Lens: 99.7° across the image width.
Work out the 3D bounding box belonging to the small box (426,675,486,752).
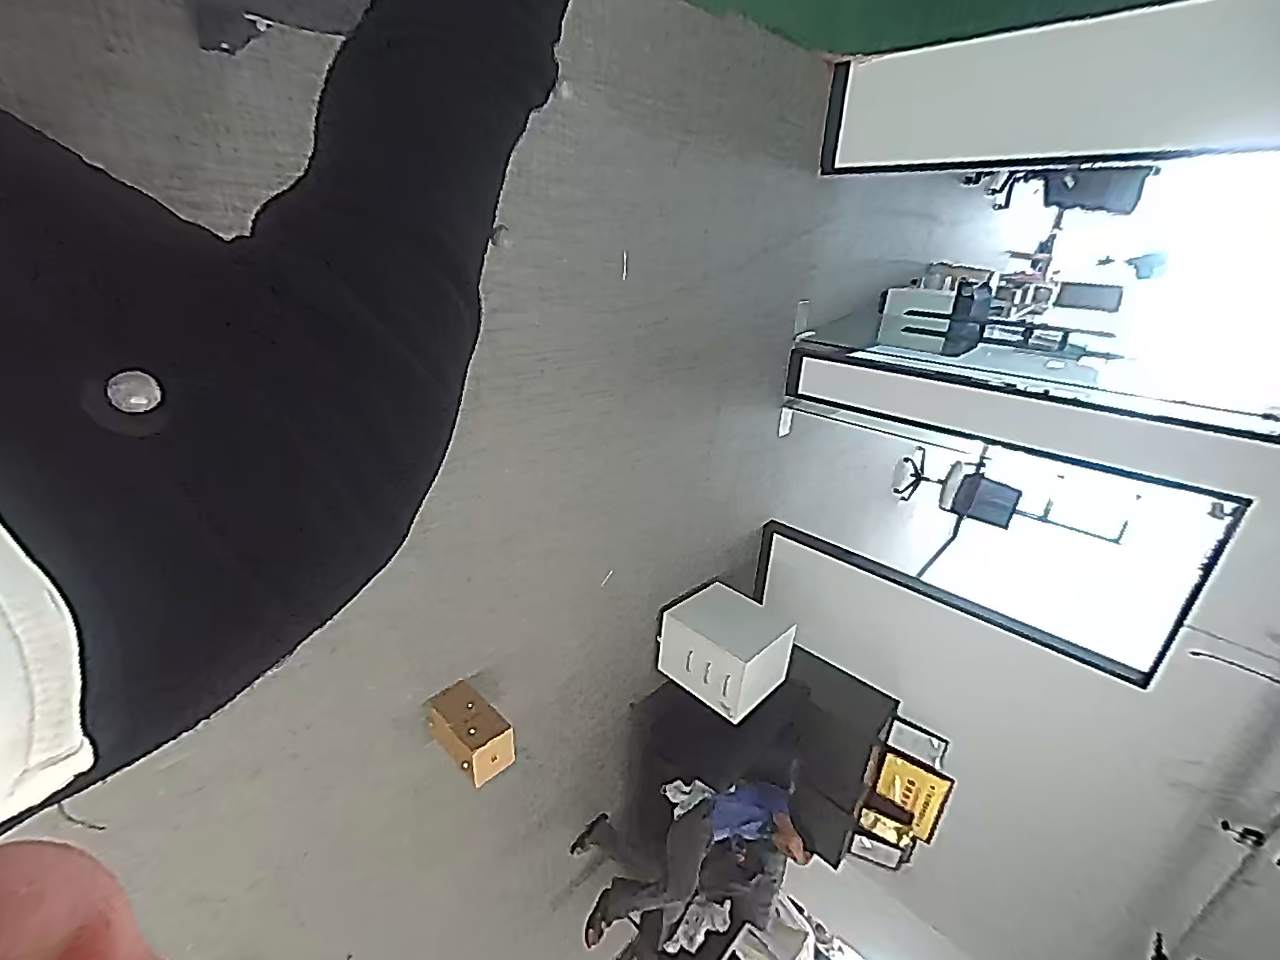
[{"bbox_3d":[-0.711,0.897,2.095,0.168,0.176,0.179,-21,124,-44],"label":"small box"}]

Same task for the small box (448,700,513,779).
[{"bbox_3d":[-0.591,0.947,1.998,0.168,0.176,0.179,-22,126,-42],"label":"small box"}]
